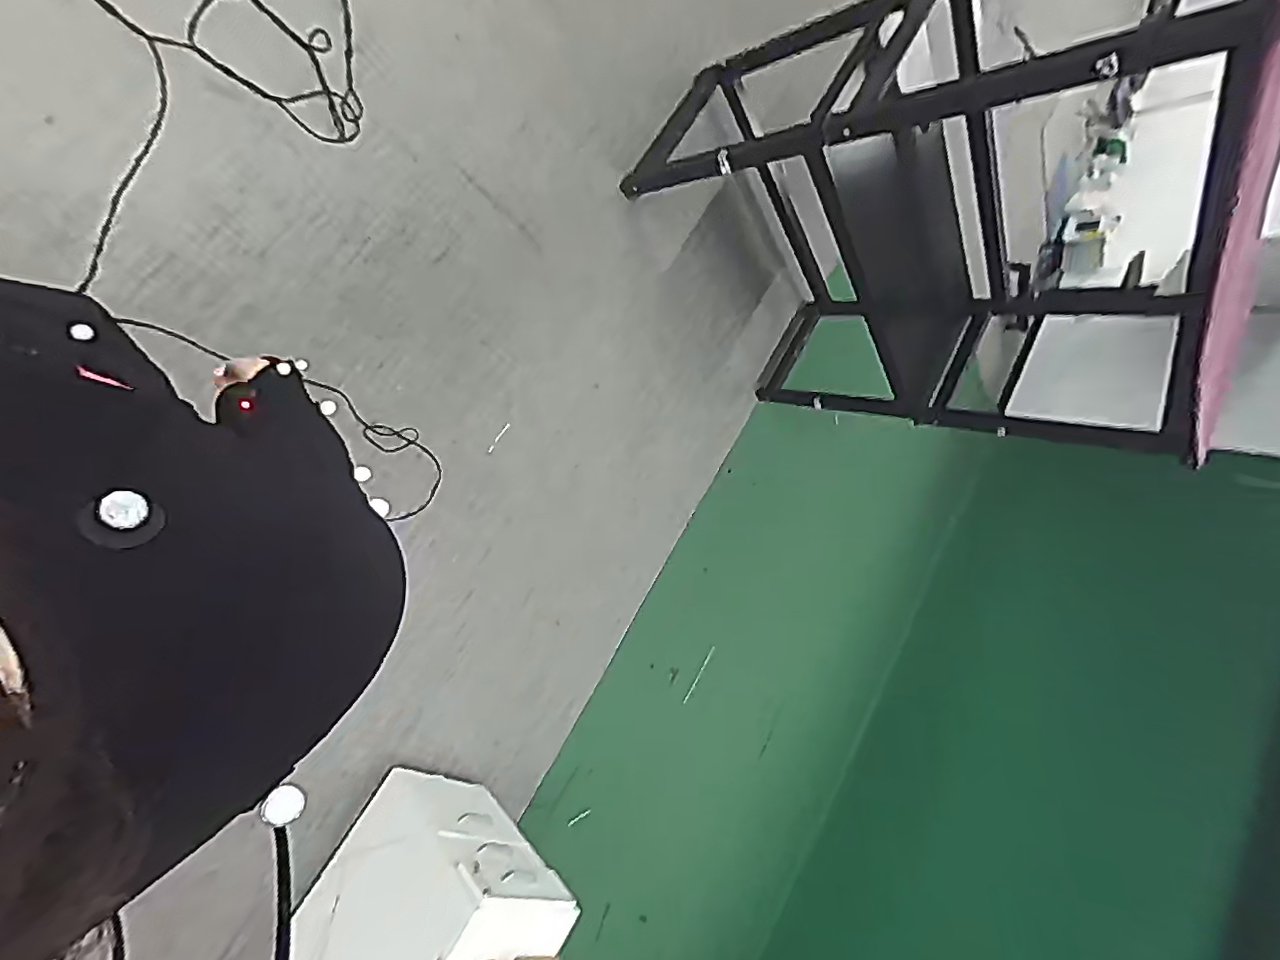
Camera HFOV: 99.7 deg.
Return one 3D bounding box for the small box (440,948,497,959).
[{"bbox_3d":[-0.398,1.183,1.190,0.168,0.176,0.179,-56,135,-13],"label":"small box"}]
